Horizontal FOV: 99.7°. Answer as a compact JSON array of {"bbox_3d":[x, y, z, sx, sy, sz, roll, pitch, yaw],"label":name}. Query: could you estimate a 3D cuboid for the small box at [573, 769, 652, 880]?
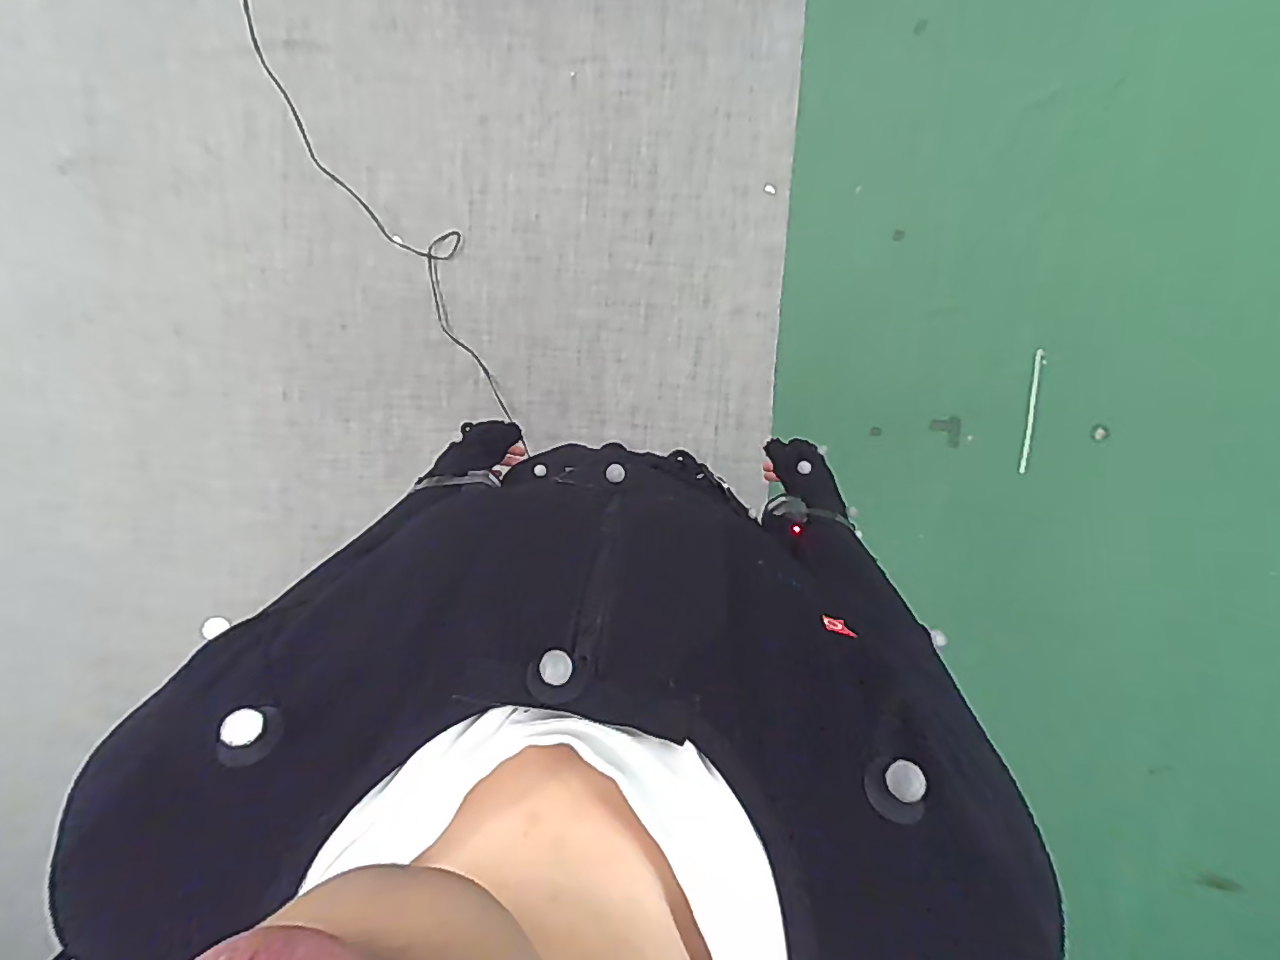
[{"bbox_3d":[-0.067,0.884,1.409,0.168,0.176,0.179,-12,96,3],"label":"small box"}]
